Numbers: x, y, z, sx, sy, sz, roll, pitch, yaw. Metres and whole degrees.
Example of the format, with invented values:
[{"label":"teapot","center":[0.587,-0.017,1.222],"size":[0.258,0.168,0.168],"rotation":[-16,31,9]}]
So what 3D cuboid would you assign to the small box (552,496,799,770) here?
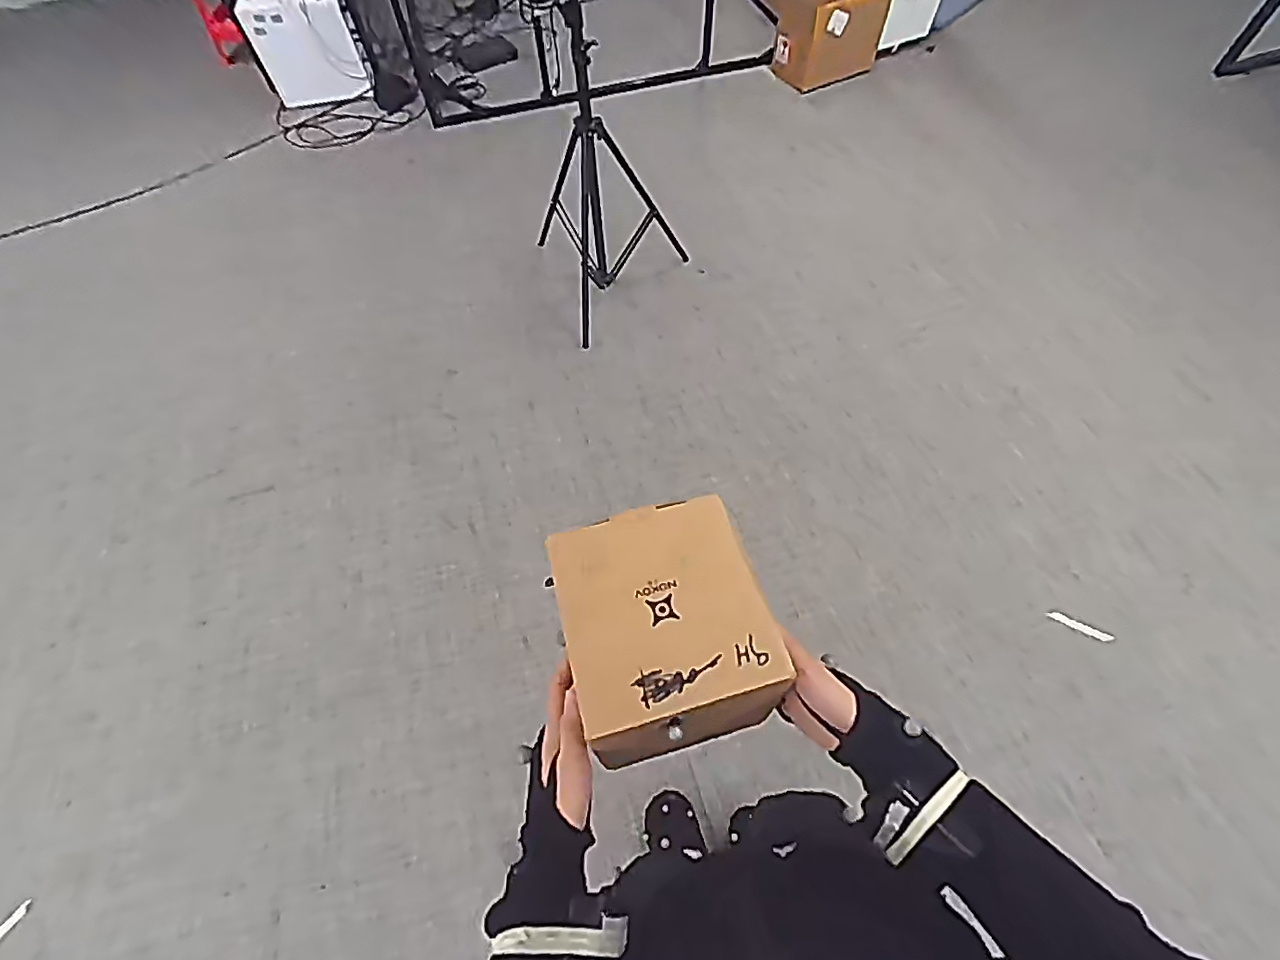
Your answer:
[{"label":"small box","center":[0.022,0.146,0.507],"size":[0.168,0.176,0.179],"rotation":[-14,55,-7]}]
